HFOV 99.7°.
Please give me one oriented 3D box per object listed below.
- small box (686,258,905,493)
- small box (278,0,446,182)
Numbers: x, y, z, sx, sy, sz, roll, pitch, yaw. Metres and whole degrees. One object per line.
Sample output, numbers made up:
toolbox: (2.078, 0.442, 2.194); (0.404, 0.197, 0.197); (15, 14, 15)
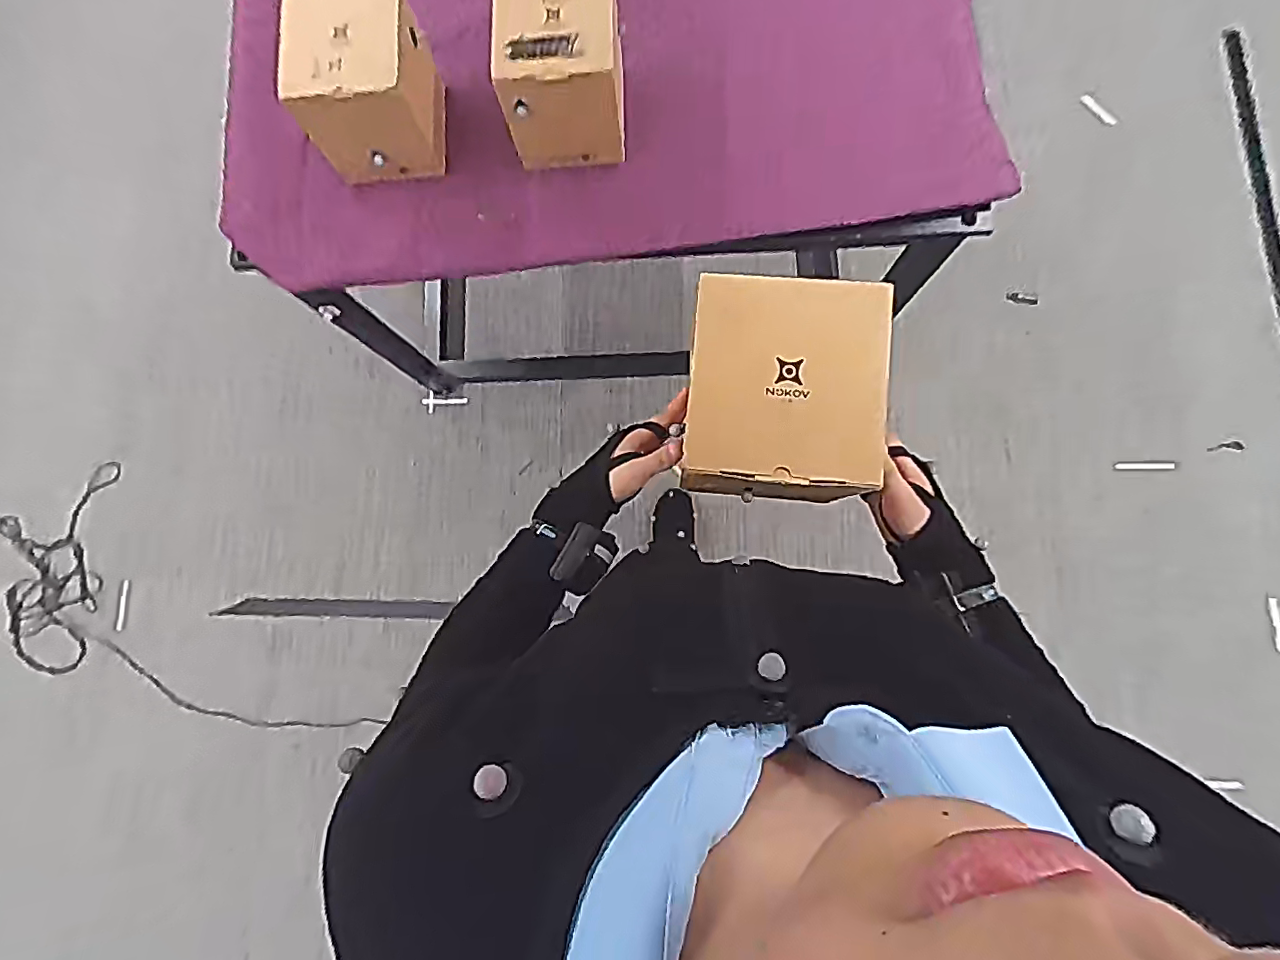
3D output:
small box: (0.134, -0.087, 0.521); (0.168, 0.176, 0.179); (5, 85, 4)
small box: (-0.402, -0.584, 0.810); (0.168, 0.176, 0.179); (-4, 81, 1)
